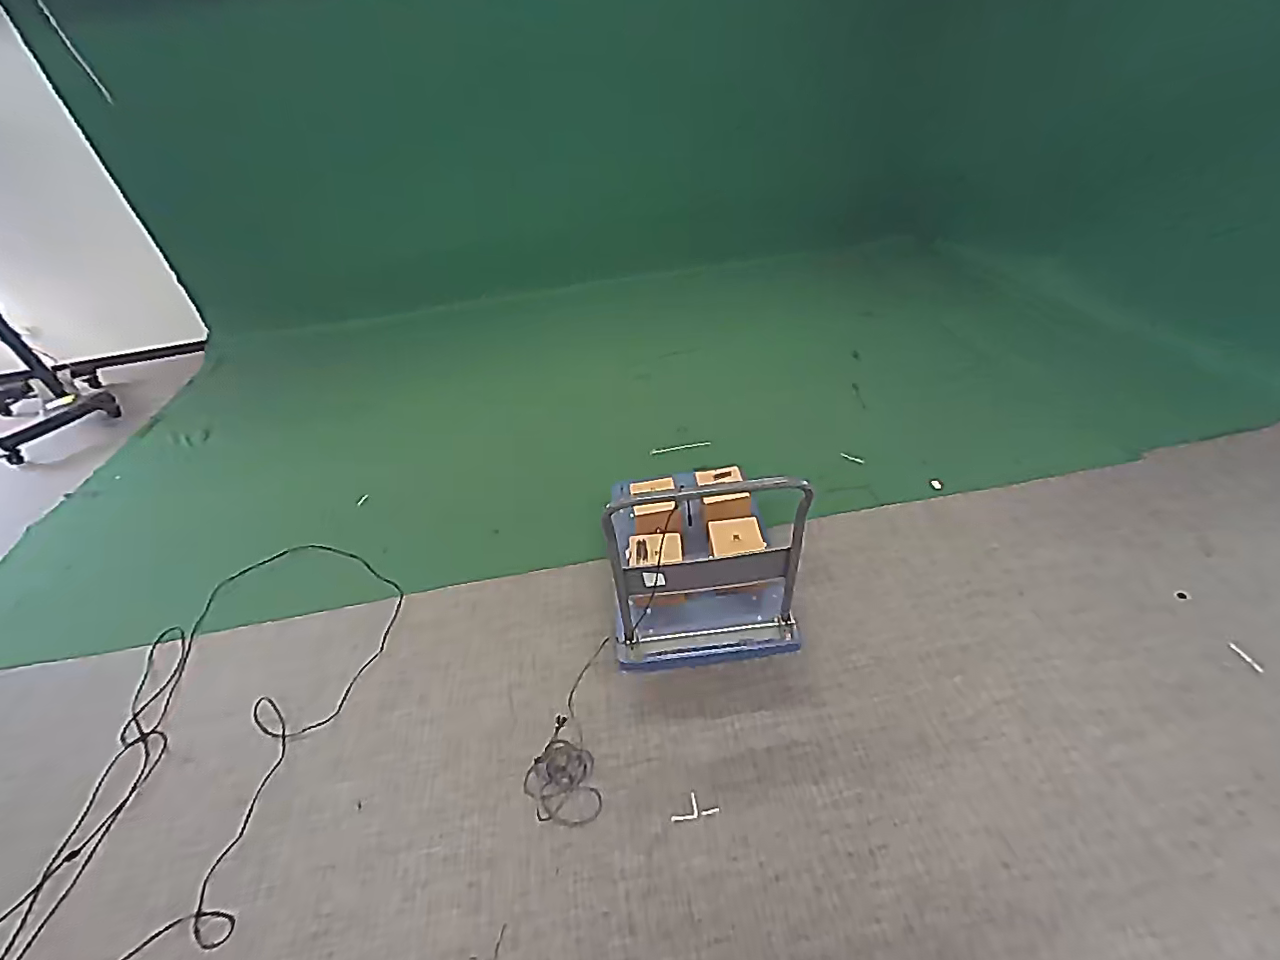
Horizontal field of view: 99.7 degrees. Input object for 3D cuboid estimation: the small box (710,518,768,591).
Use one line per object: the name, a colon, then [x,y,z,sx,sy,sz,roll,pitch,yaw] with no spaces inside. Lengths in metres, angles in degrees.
small box: [0.329,0.252,1.832,0.168,0.176,0.179,-7,41,2]

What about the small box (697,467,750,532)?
small box: [0.312,0.077,2.038,0.168,0.176,0.179,-10,41,-1]

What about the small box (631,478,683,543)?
small box: [0.064,0.121,2.030,0.168,0.176,0.179,-9,40,-2]
